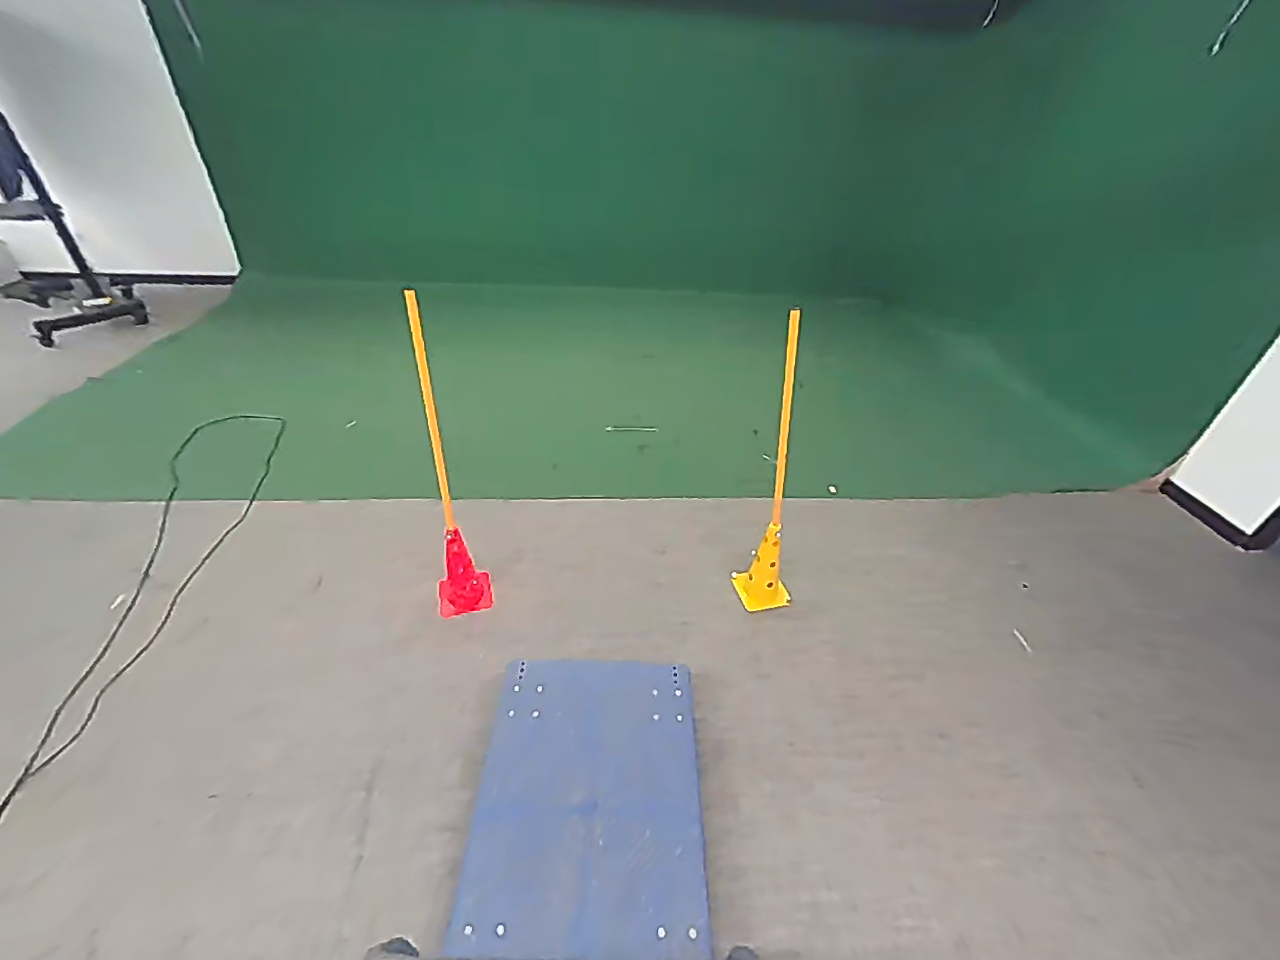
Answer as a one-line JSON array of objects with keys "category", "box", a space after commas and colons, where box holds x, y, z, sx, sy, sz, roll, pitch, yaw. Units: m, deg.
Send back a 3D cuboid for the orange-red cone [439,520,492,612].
[{"category": "orange-red cone", "box": [-0.683, 0.296, 2.027, 0.199, 0.360, 0.198, -10, 38, -15]}]
